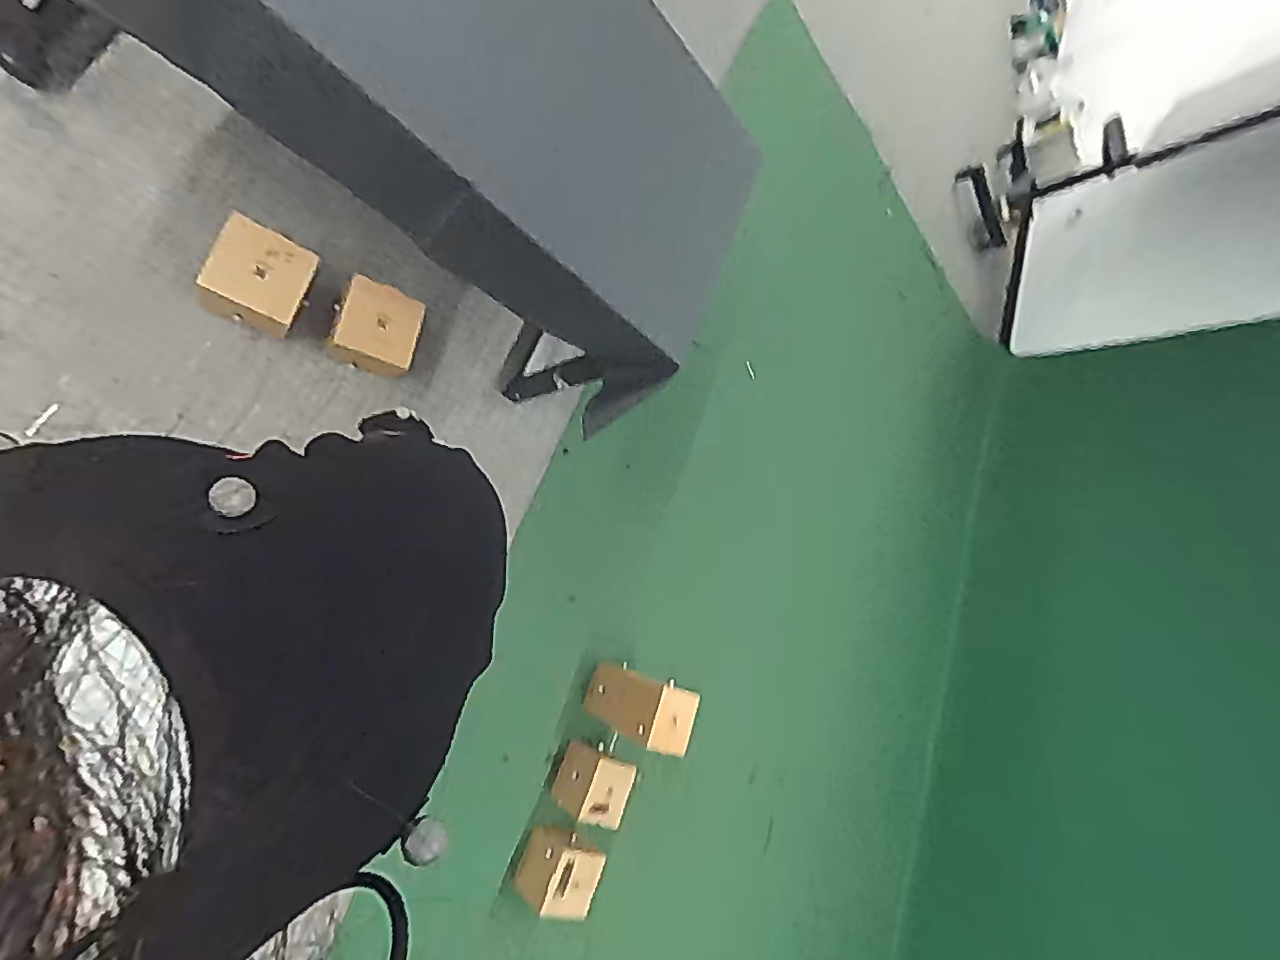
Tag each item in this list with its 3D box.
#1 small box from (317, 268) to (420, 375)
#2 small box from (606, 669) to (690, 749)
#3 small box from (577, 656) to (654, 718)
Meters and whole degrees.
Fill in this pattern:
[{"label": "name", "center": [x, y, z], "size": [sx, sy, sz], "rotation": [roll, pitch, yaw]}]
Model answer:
[{"label": "small box", "center": [-0.665, -0.376, 1.319], "size": [0.168, 0.176, 0.179], "rotation": [19, 77, -38]}, {"label": "small box", "center": [0.022, 0.700, 1.669], "size": [0.168, 0.176, 0.179], "rotation": [31, 71, -36]}, {"label": "small box", "center": [-0.081, 0.698, 1.796], "size": [0.179, 0.176, 0.168], "rotation": [32, 70, -34]}]
